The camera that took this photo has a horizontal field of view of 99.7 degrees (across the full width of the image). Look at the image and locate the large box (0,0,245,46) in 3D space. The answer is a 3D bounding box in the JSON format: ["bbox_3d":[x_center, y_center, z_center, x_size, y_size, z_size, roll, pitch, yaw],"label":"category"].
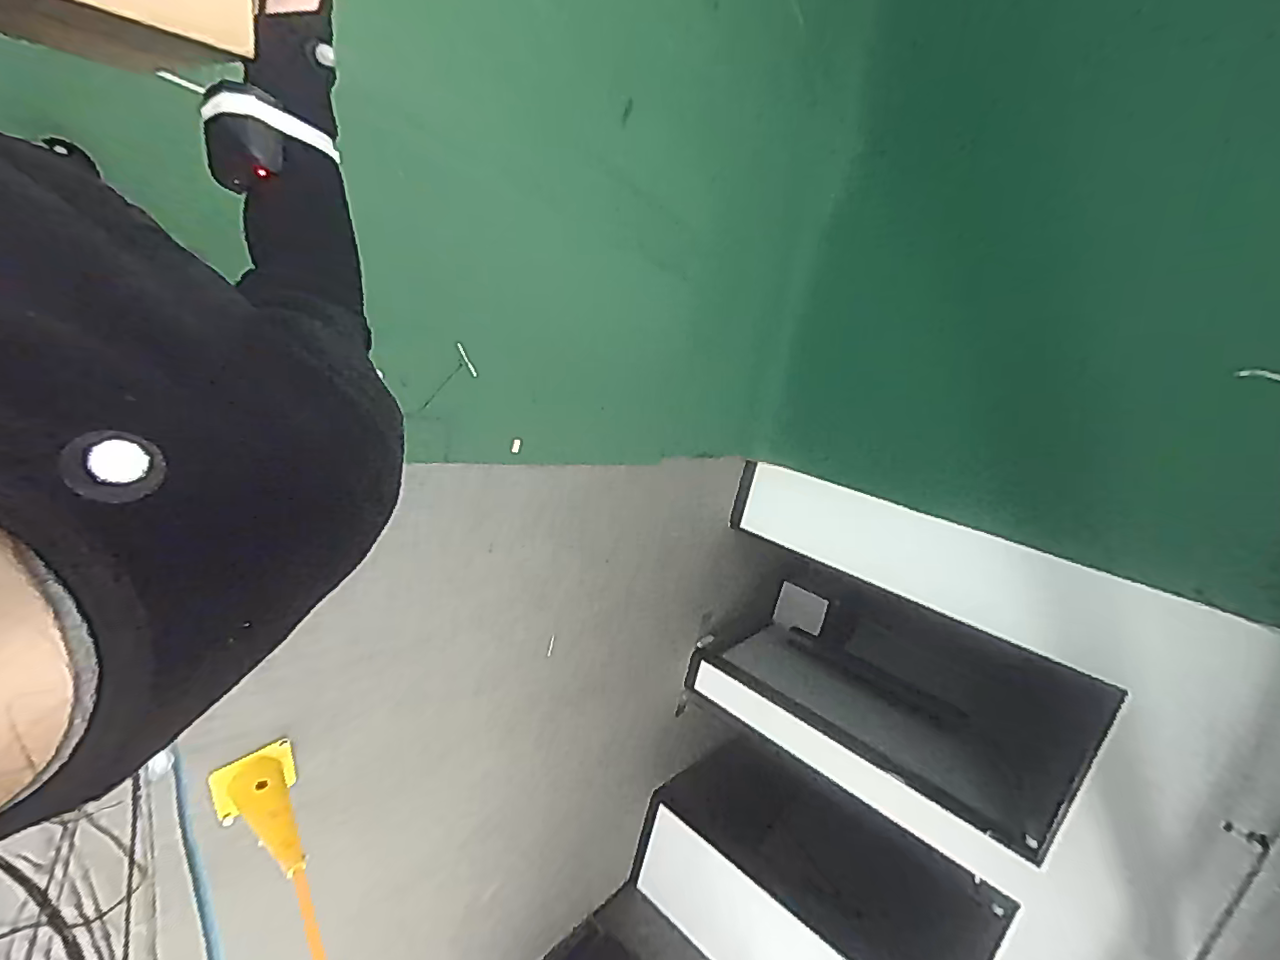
[{"bbox_3d":[-0.510,-0.485,0.285,0.408,0.320,0.320,-17,126,-47],"label":"large box"}]
